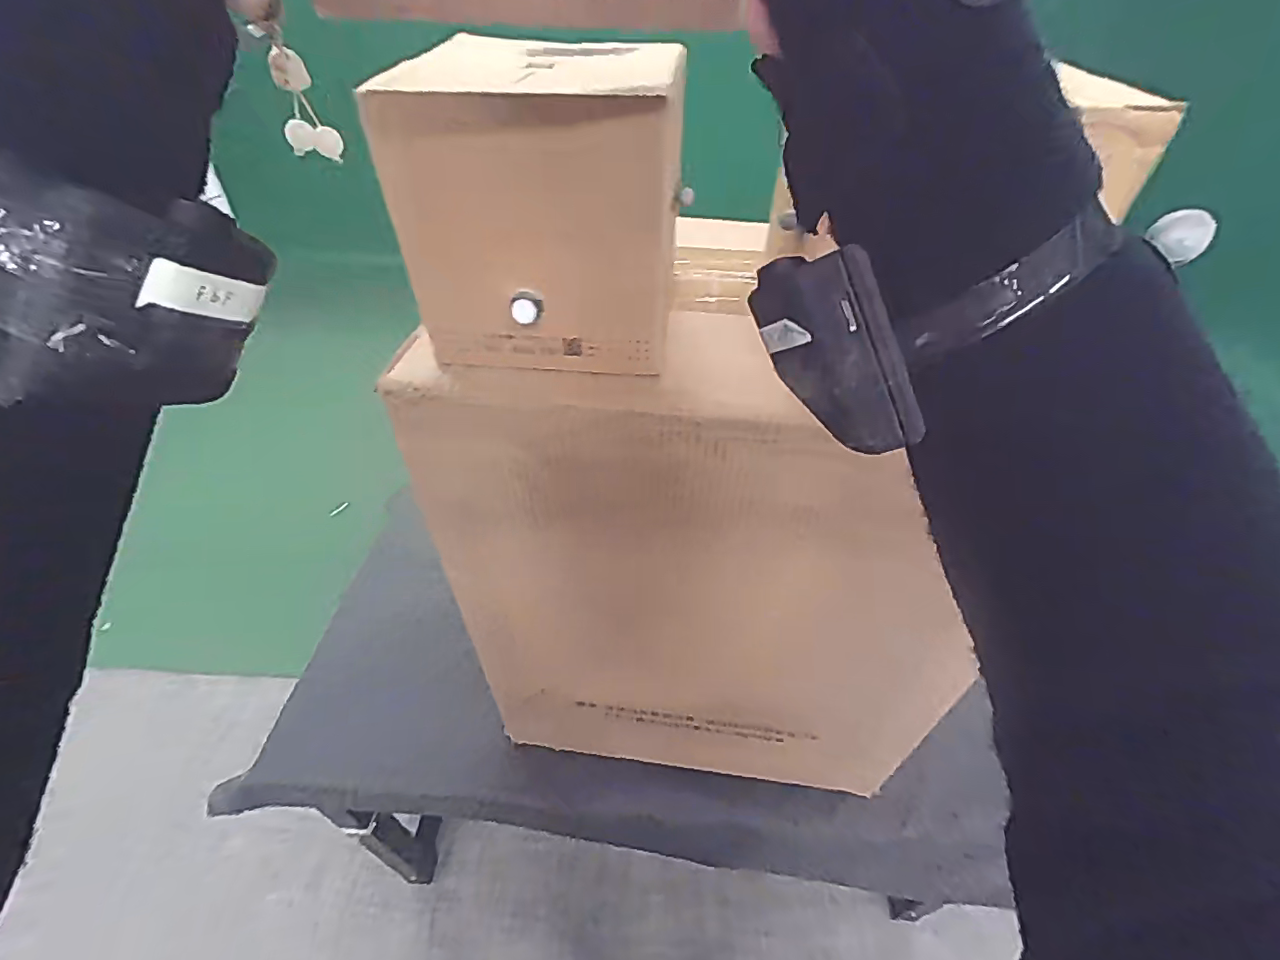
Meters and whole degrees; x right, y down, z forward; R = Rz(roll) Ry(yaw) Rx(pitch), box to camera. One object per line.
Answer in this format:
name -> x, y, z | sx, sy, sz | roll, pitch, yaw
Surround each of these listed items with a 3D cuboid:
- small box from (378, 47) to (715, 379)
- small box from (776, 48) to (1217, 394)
small box -> -0.042, -0.194, 0.377 | 0.168, 0.176, 0.179 | 6, 46, 6
small box -> 0.204, -0.179, 0.380 | 0.168, 0.176, 0.179 | 5, 46, -1
